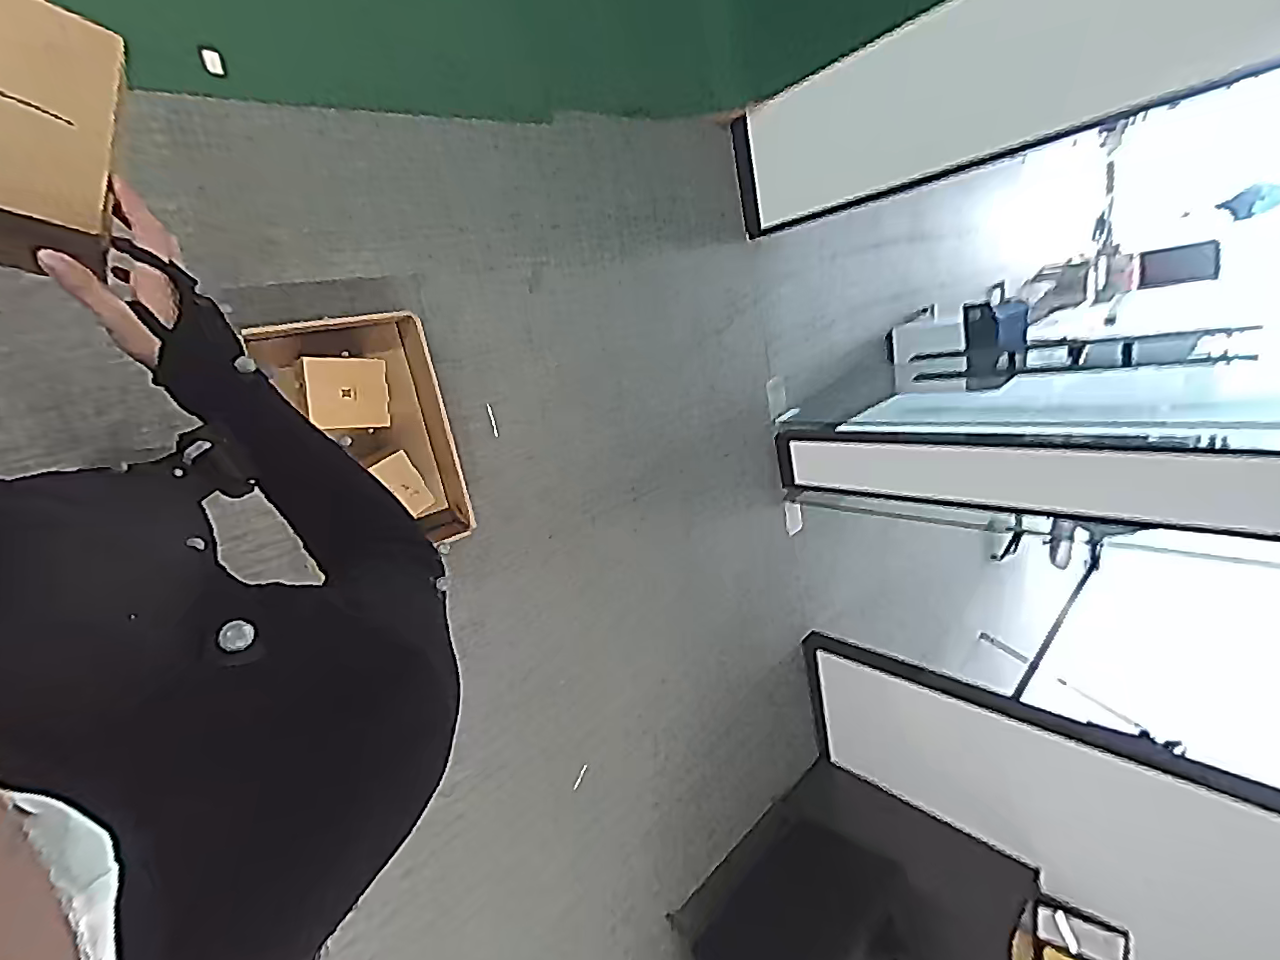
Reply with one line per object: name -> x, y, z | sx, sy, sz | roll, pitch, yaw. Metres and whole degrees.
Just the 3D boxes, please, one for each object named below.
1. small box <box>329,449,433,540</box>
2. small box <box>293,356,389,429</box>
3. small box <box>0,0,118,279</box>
small box -> -0.681, 0.032, 1.412 | 0.179, 0.176, 0.168 | -39, 118, -31
small box -> -0.741, -0.211, 1.334 | 0.179, 0.176, 0.168 | -9, 101, -41
small box -> -0.533, -0.276, 0.417 | 0.179, 0.176, 0.168 | 6, 87, -44
